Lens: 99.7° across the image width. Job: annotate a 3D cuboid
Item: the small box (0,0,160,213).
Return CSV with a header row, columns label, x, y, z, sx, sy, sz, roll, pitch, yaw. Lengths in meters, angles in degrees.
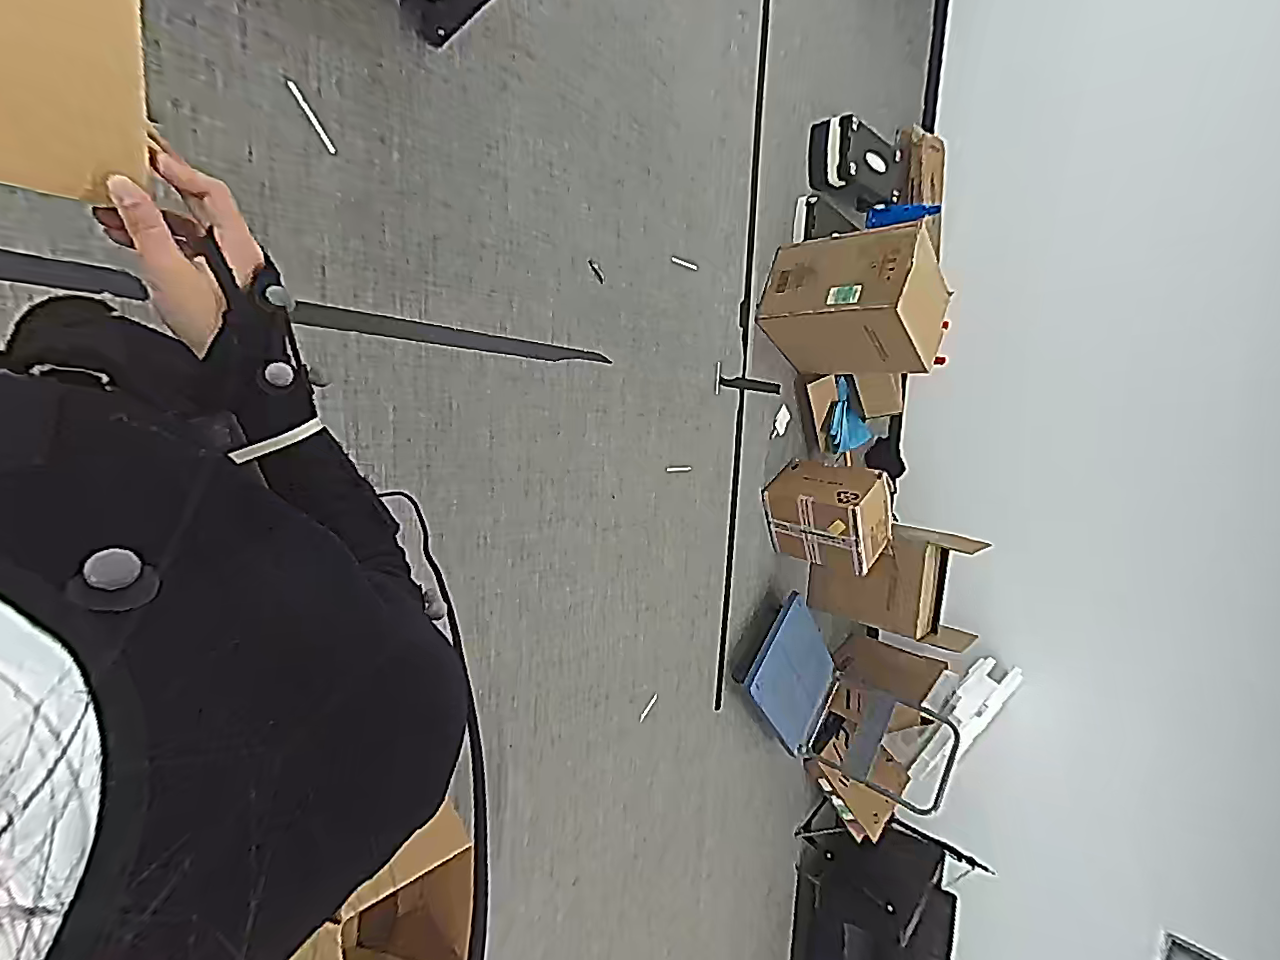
label,x,y,z,sx,sy,sz,roll,pitch,yaw
small box,-0.381,-0.259,0.282,0.179,0.176,0.168,-6,118,-45
